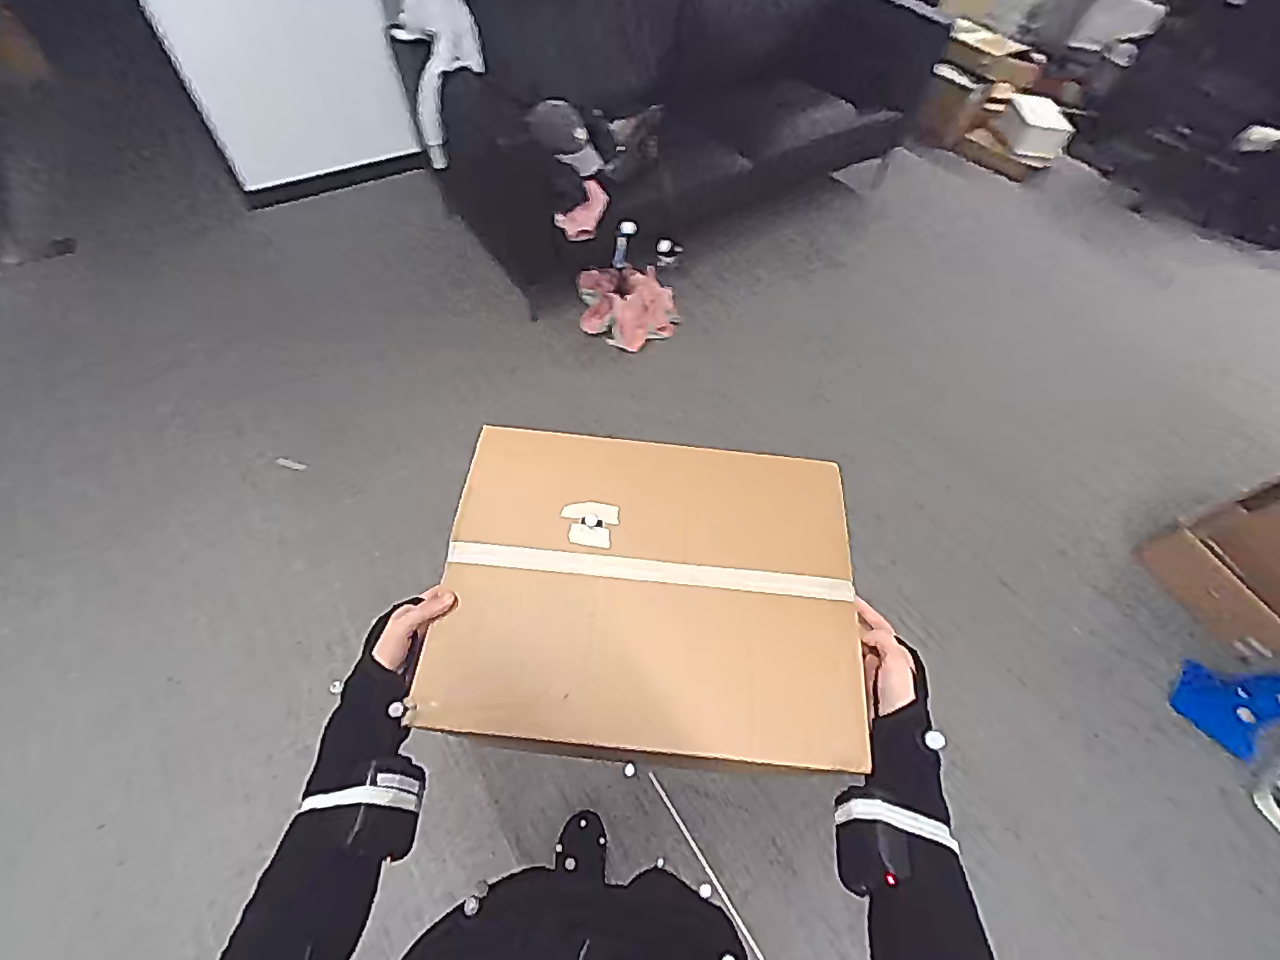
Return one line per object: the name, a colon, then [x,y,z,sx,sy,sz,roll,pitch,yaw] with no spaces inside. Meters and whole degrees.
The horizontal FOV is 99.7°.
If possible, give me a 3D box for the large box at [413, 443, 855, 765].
large box: [0.000,0.175,0.682,0.408,0.320,0.320,5,60,0]
